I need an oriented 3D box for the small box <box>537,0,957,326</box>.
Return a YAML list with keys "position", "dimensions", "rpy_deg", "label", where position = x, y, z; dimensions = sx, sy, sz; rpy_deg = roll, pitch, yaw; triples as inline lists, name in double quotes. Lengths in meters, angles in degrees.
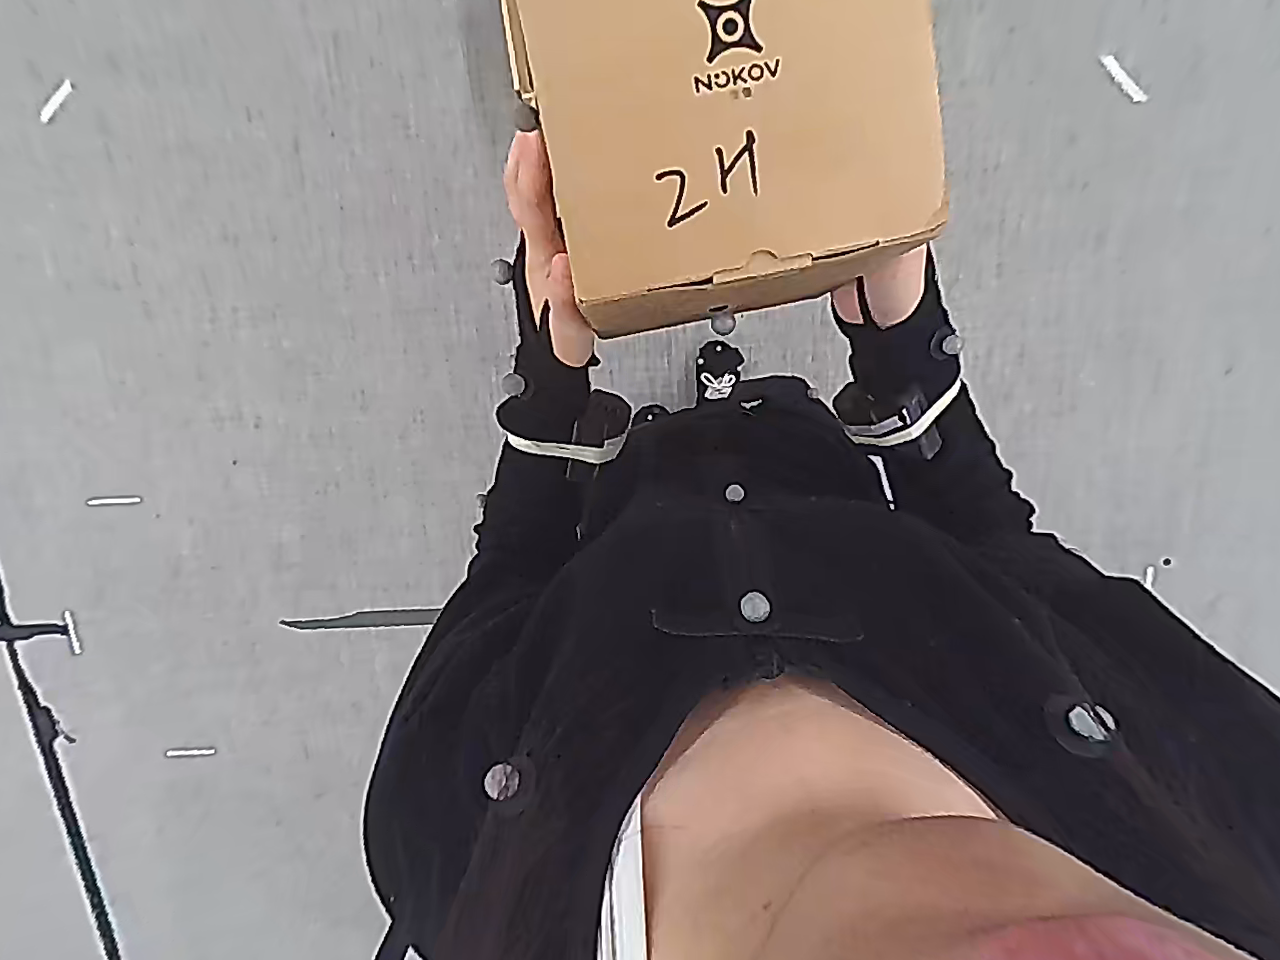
- position: [0.040, -0.195, 0.299]
  dimensions: [0.168, 0.176, 0.179]
  rpy_deg: [-11, 100, 1]
  label: "small box"
